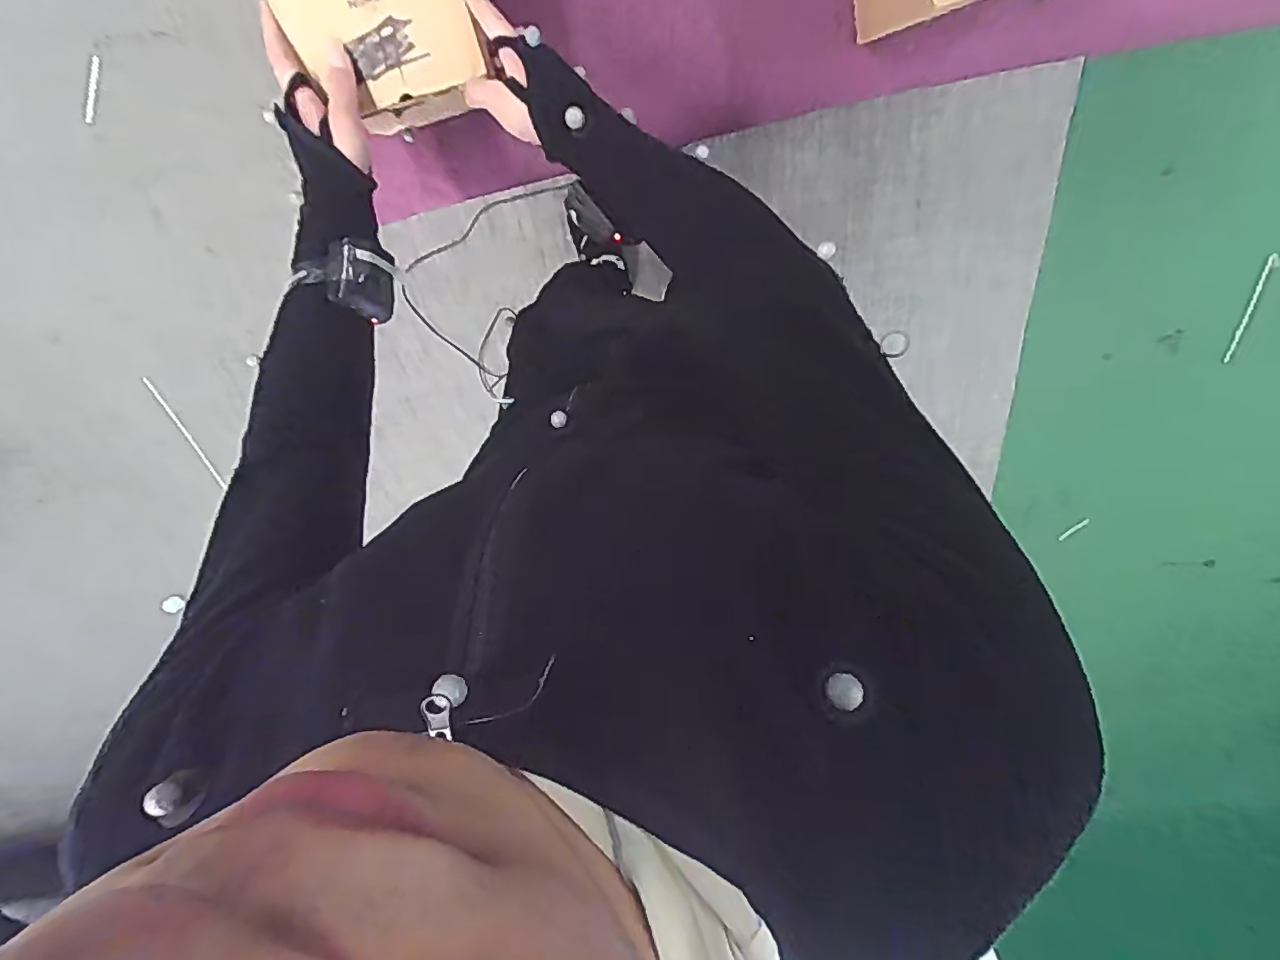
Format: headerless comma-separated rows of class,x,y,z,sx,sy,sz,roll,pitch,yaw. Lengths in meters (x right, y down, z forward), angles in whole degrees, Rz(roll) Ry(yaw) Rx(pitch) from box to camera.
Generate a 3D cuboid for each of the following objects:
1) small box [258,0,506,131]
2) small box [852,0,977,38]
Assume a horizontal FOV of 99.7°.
small box,-0.245,-0.459,0.524,0.168,0.176,0.179,-13,120,5
small box,0.310,-0.547,0.497,0.179,0.176,0.168,-16,120,7
